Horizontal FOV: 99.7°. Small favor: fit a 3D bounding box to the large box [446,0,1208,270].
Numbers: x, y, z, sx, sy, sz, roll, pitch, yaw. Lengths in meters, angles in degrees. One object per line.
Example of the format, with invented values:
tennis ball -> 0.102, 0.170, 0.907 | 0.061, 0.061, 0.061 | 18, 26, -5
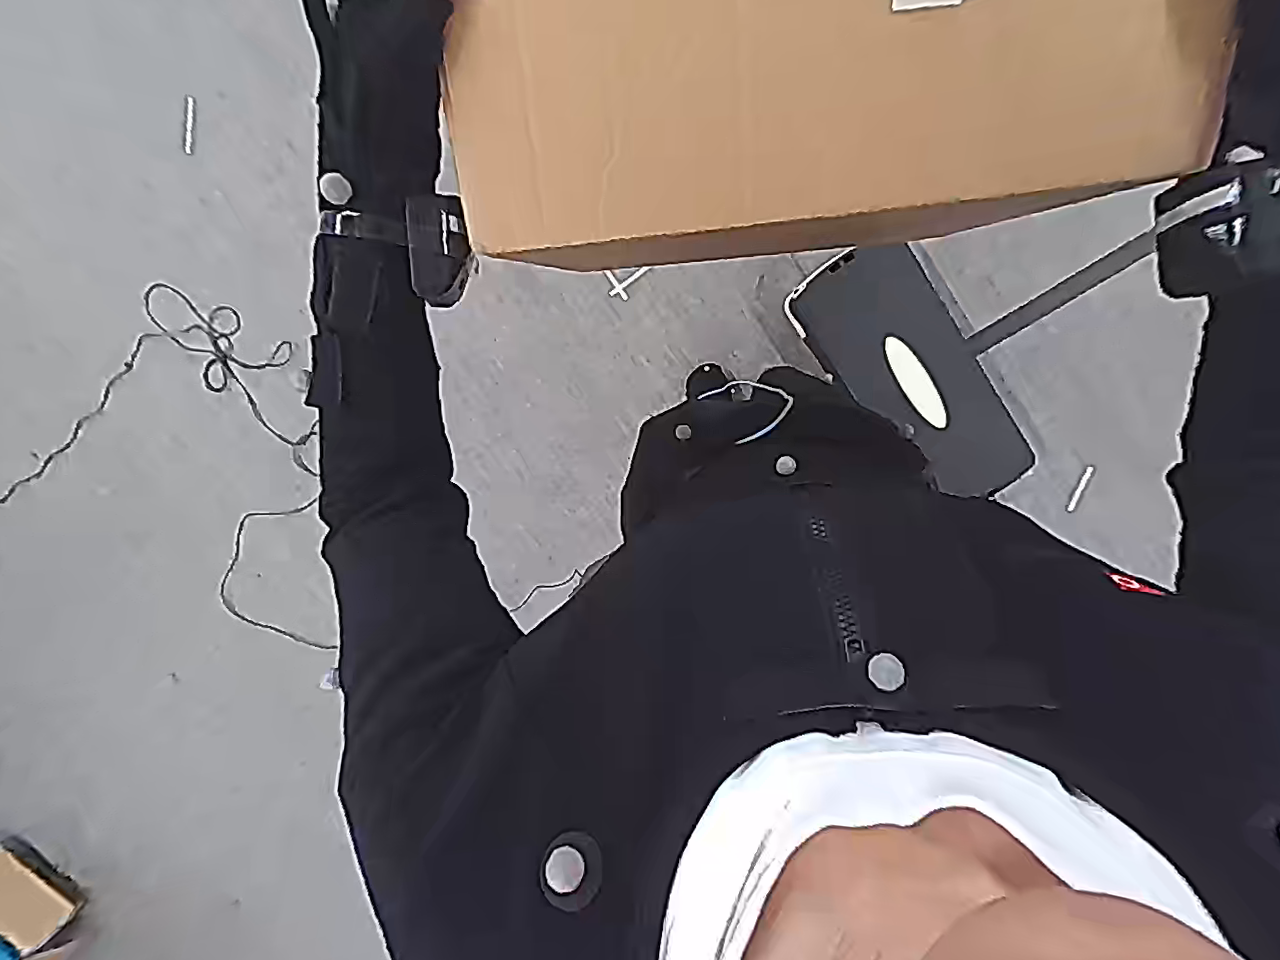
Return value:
large box -> 0.095, -0.356, 0.414 | 0.408, 0.320, 0.320 | -4, 109, 6
